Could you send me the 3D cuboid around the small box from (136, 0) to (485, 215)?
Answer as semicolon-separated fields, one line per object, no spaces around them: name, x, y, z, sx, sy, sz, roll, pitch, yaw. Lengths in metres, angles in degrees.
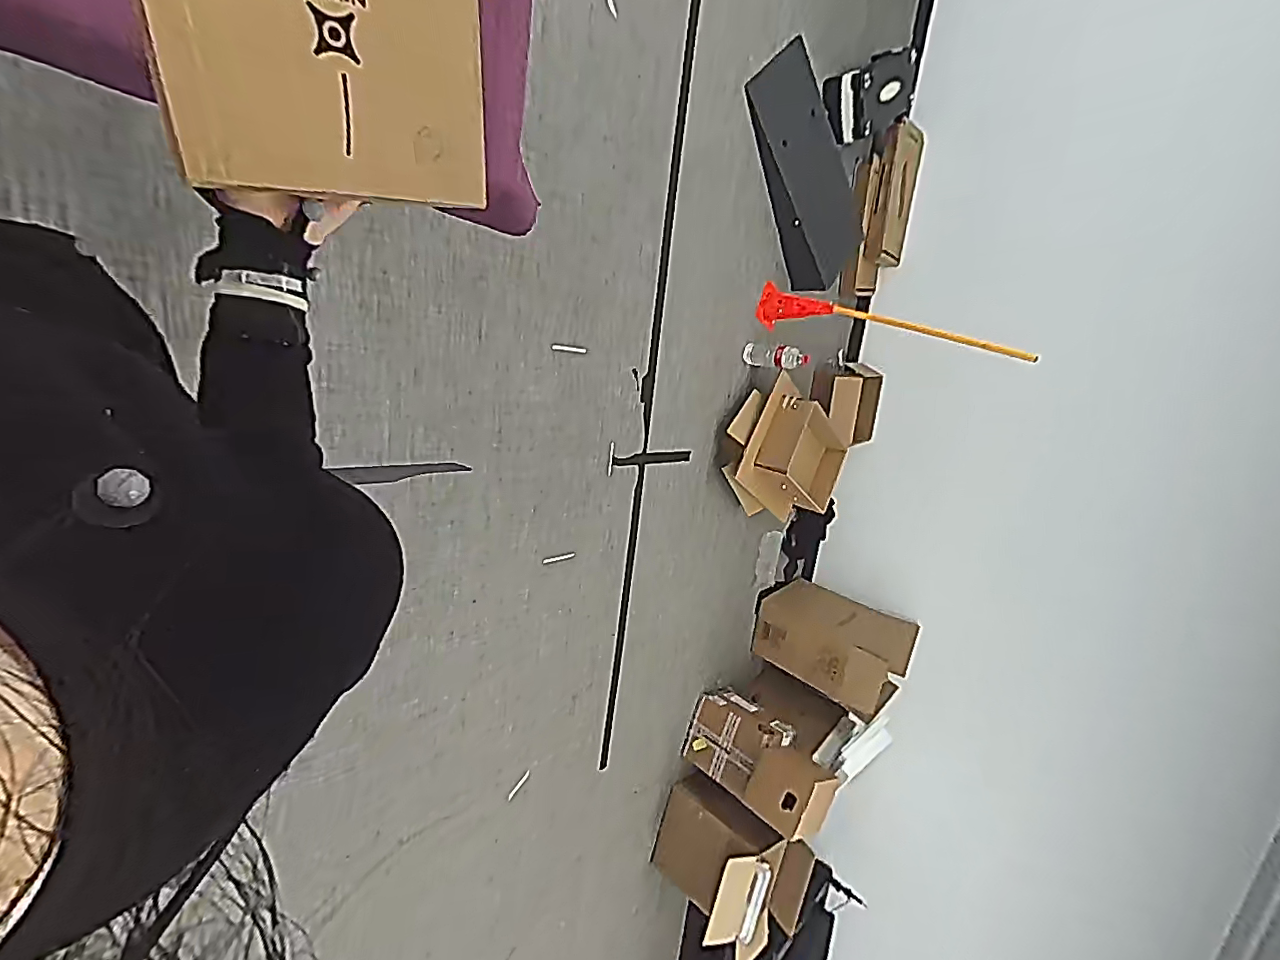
small box;-0.217;-0.280;0.356;0.168;0.176;0.179;-15;121;-36
